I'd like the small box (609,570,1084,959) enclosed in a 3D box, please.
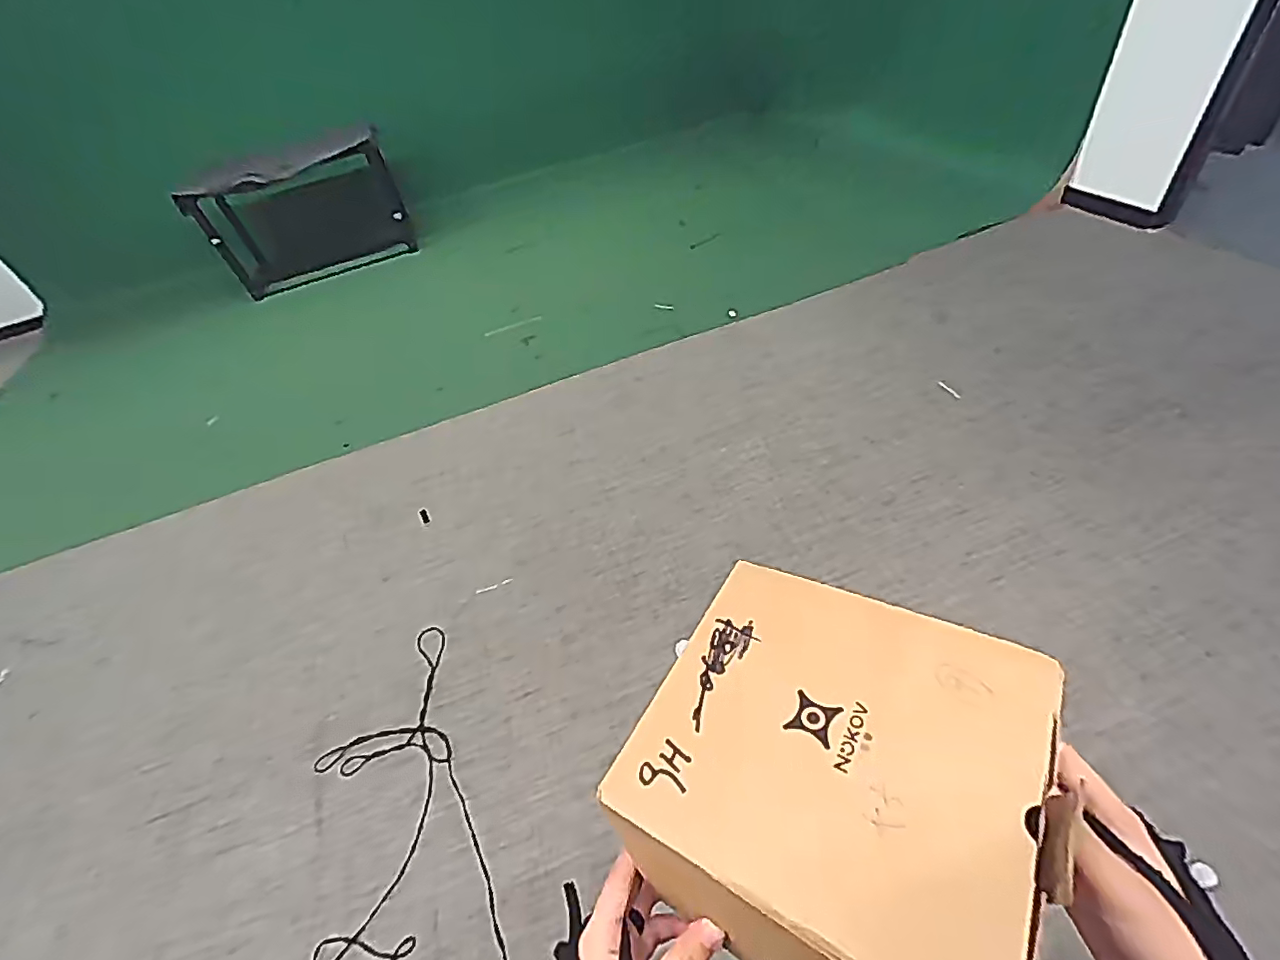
[{"bbox_3d":[0.113,0.188,0.310,0.179,0.176,0.168,17,47,33],"label":"small box"}]
